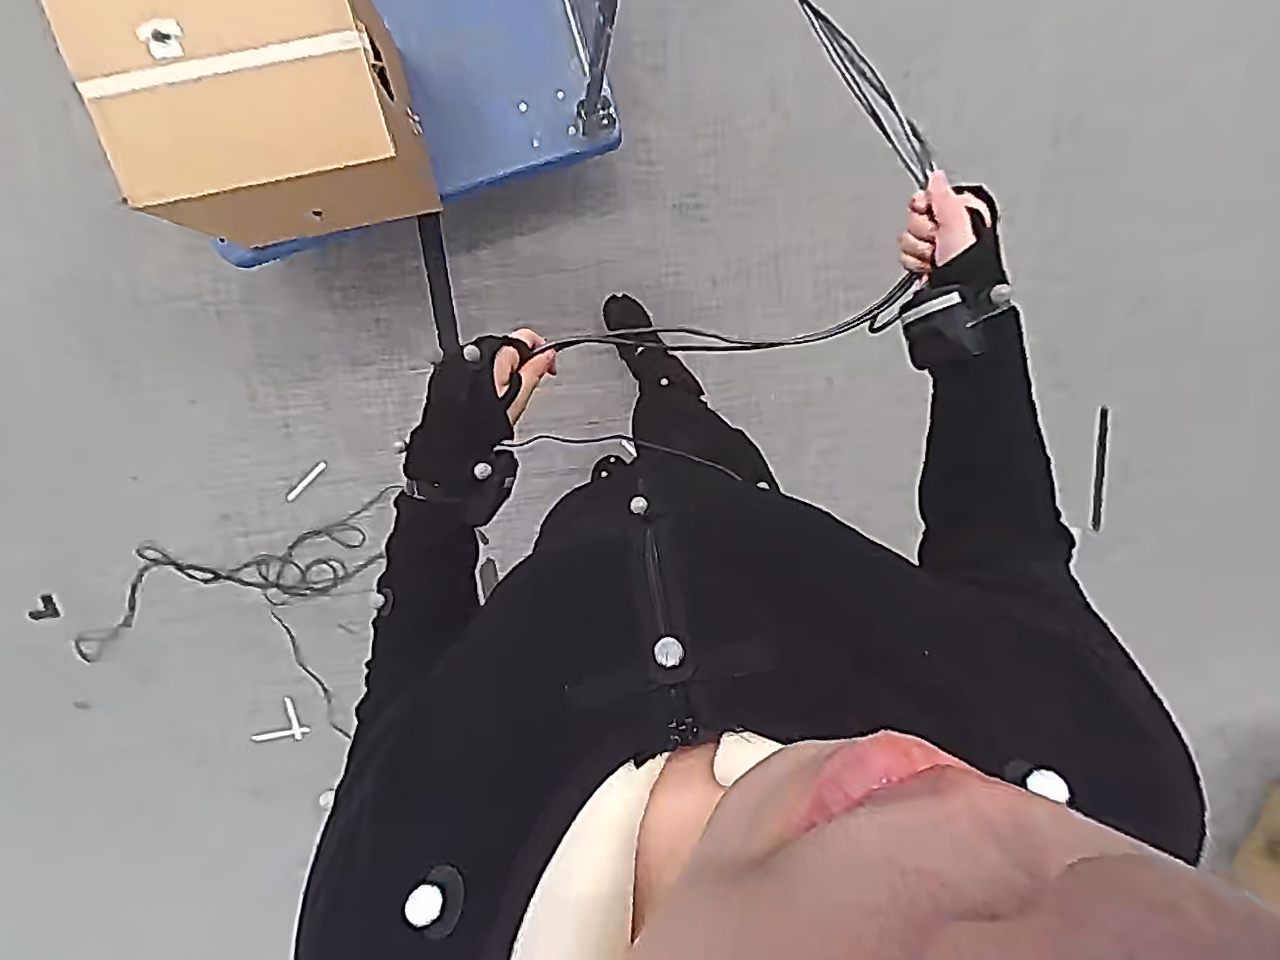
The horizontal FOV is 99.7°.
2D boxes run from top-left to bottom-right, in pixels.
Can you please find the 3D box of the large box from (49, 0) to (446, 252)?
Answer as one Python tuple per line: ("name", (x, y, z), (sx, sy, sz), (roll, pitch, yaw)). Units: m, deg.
("large box", (-0.609, -0.619, 0.933), (0.408, 0.320, 0.320), (-14, 103, -3))
